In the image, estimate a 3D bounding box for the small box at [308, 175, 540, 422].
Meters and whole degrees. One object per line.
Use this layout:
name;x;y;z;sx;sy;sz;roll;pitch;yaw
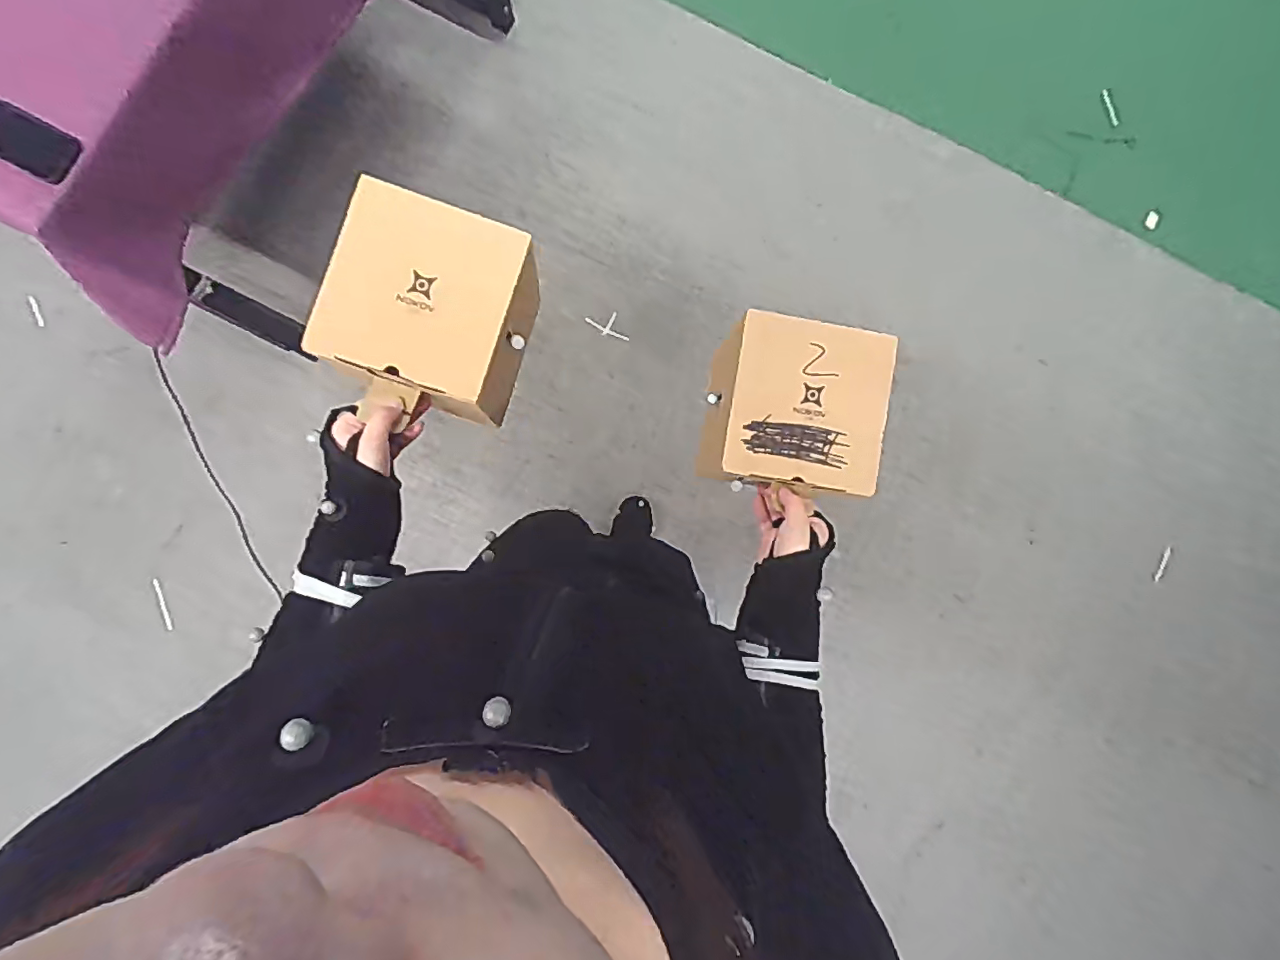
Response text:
small box;-0.211;-0.176;0.584;0.168;0.176;0.179;18;87;-7
